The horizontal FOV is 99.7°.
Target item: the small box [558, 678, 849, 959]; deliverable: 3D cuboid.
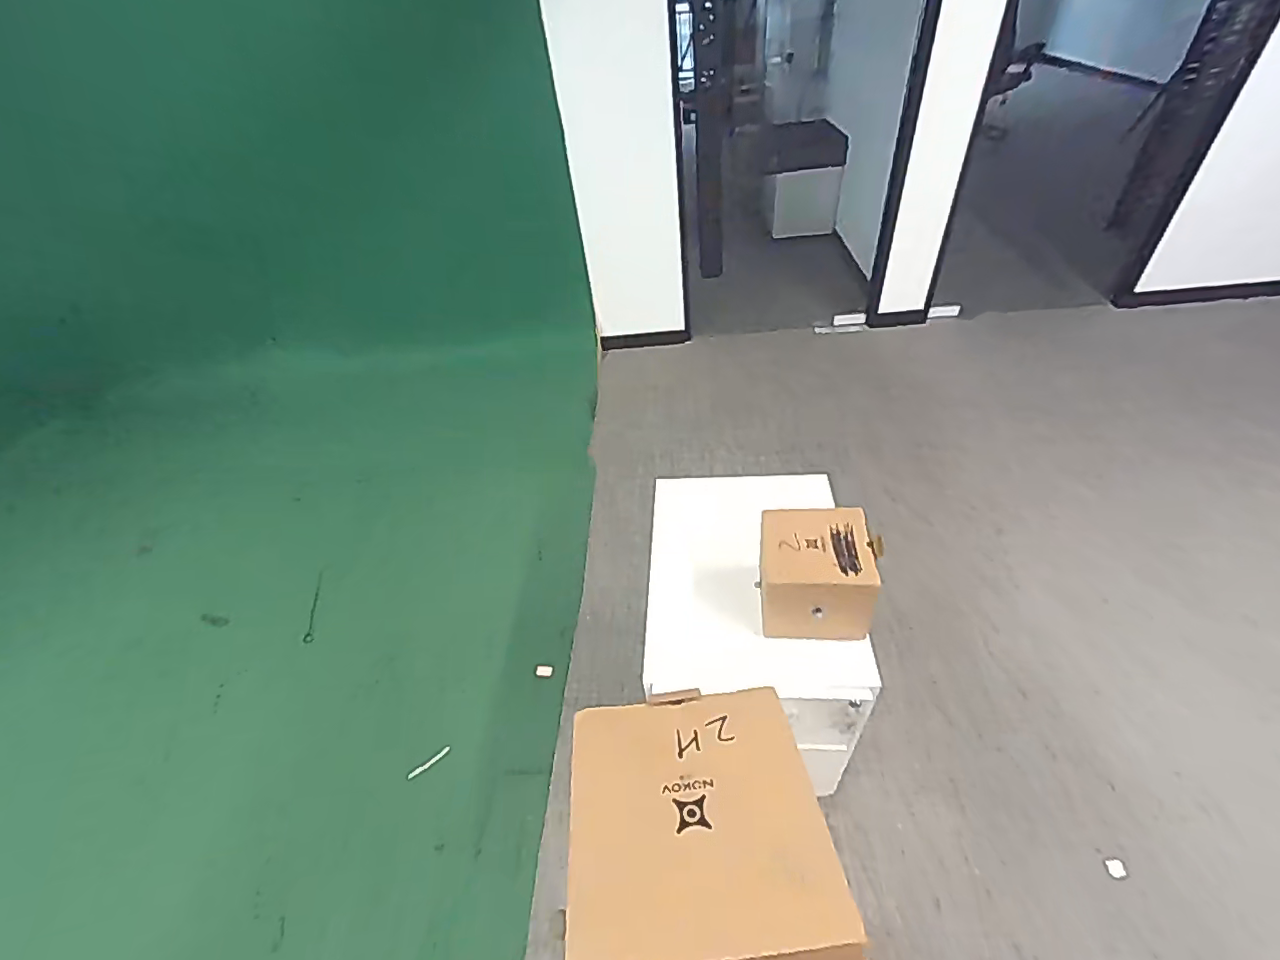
[{"bbox_3d":[0.038,0.282,0.404,0.168,0.176,0.179,-6,27,-1],"label":"small box"}]
